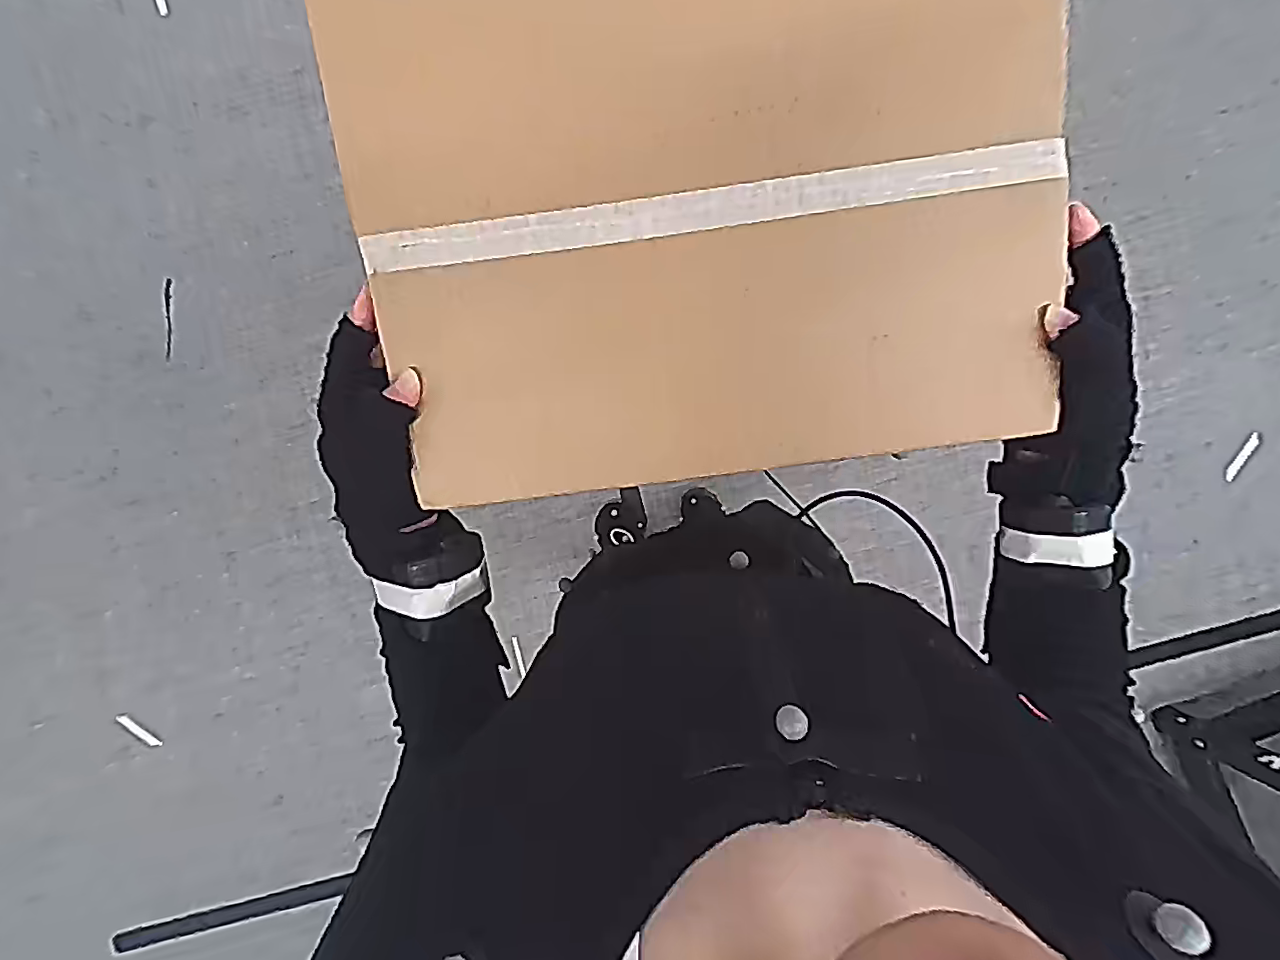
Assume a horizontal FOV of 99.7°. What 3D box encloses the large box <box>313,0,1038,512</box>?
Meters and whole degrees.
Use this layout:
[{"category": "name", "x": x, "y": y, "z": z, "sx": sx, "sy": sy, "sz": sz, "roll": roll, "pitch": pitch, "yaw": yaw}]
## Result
[{"category": "large box", "x": 0.035, "y": -0.186, "z": 0.468, "sx": 0.408, "sy": 0.320, "sz": 0.320, "roll": -7, "pitch": 101, "yaw": 1}]
